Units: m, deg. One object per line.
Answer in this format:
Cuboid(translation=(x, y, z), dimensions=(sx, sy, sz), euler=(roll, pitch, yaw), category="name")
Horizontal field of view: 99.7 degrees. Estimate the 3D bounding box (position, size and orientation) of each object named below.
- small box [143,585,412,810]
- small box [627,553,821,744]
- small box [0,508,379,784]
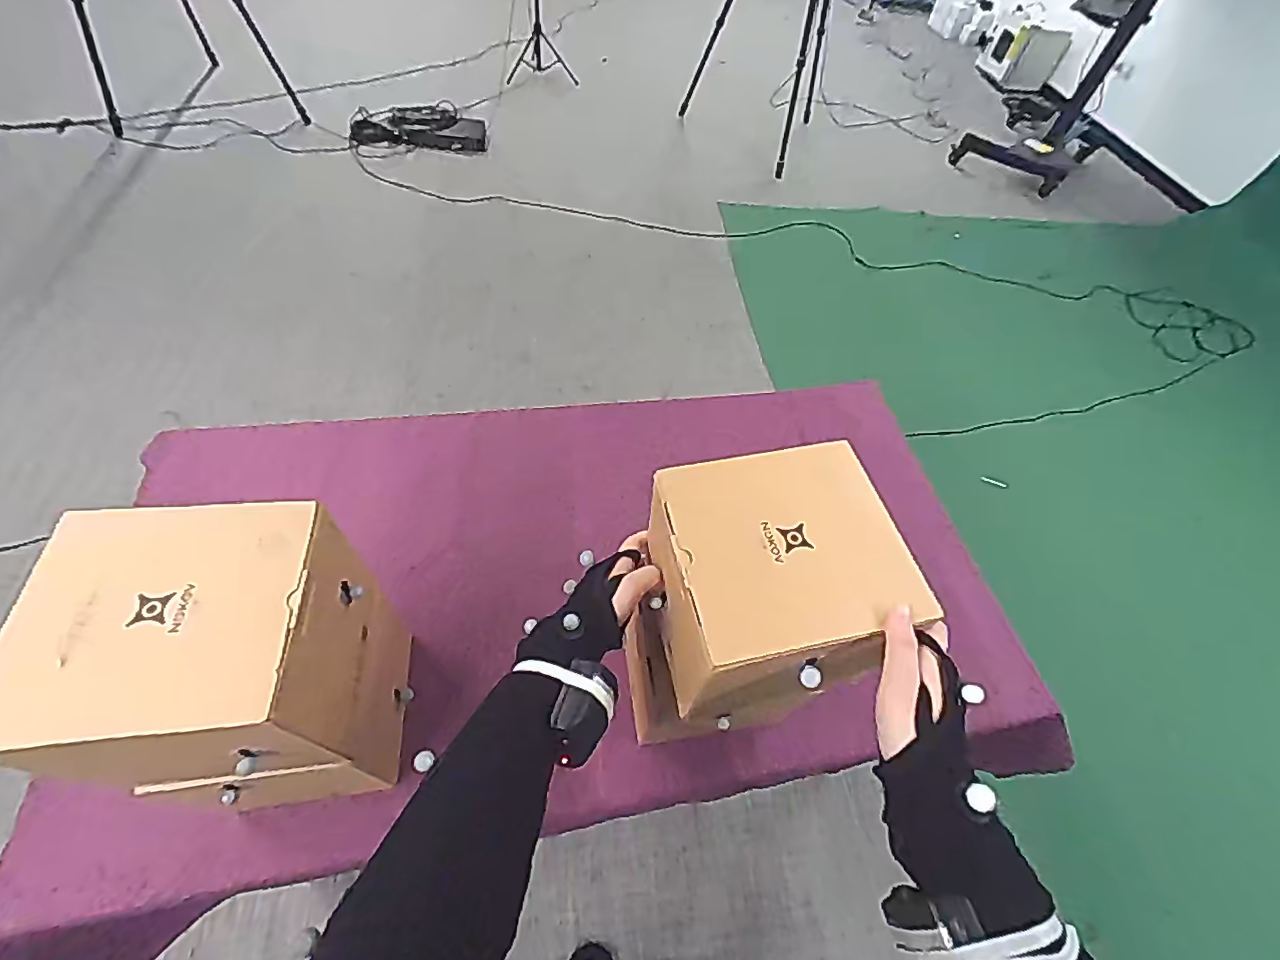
Cuboid(translation=(-0.348, 0.229, 0.568), dimensions=(0.168, 0.176, 0.179), euler=(-3, 55, -9), category="small box")
Cuboid(translation=(0.081, 0.203, 0.641), dimensions=(0.179, 0.176, 0.168), euler=(-4, 56, -10), category="small box")
Cuboid(translation=(-0.331, 0.136, 0.434), dimensions=(0.179, 0.176, 0.168), euler=(-2, 56, -8), category="small box")
